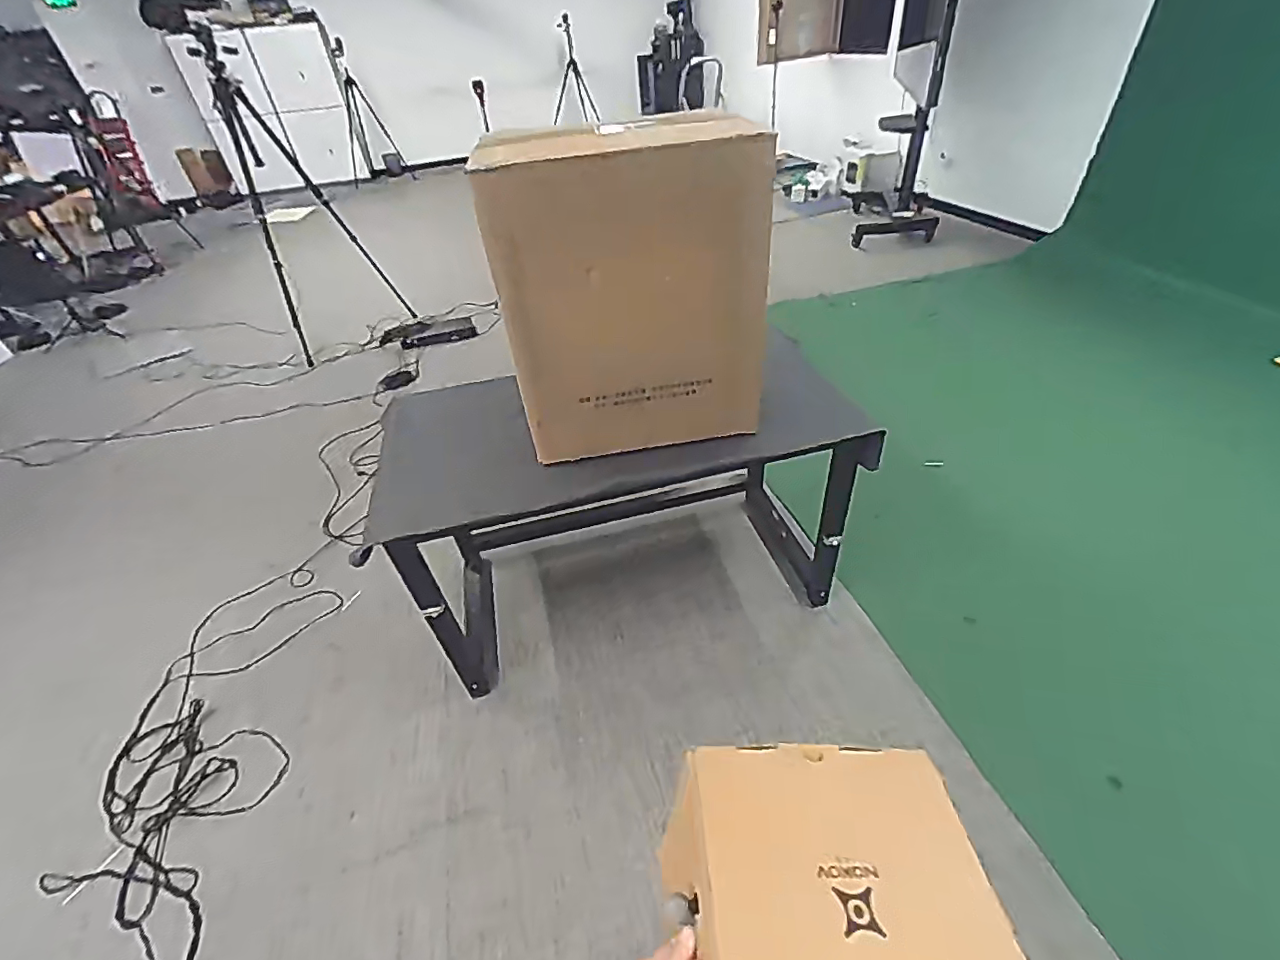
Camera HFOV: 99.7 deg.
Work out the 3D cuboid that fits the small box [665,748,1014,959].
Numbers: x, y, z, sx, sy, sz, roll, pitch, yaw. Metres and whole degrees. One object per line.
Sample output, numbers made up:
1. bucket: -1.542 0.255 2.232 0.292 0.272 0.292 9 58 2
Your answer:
1. small box: 0.109 0.300 0.346 0.168 0.176 0.179 3 34 -4
